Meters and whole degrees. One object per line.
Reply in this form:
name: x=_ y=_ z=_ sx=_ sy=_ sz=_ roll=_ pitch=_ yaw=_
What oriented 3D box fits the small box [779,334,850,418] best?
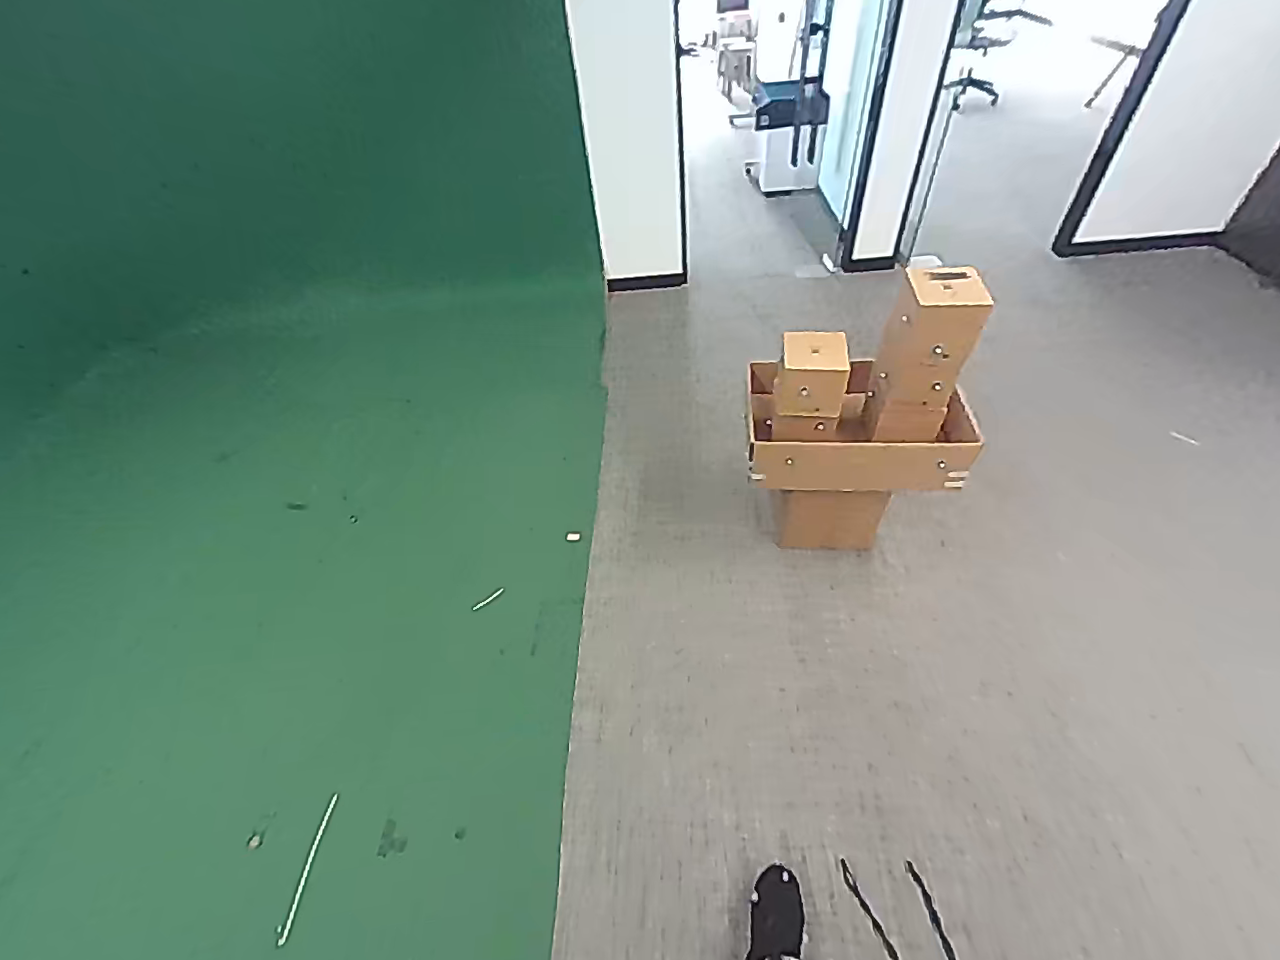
small box: x=0.483 y=-0.290 z=1.512 sx=0.168 sy=0.176 sz=0.179 roll=3 pitch=48 yaw=10

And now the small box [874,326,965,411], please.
small box: x=0.761 y=-0.305 z=1.490 sx=0.168 sy=0.176 sz=0.179 roll=2 pitch=48 yaw=7
